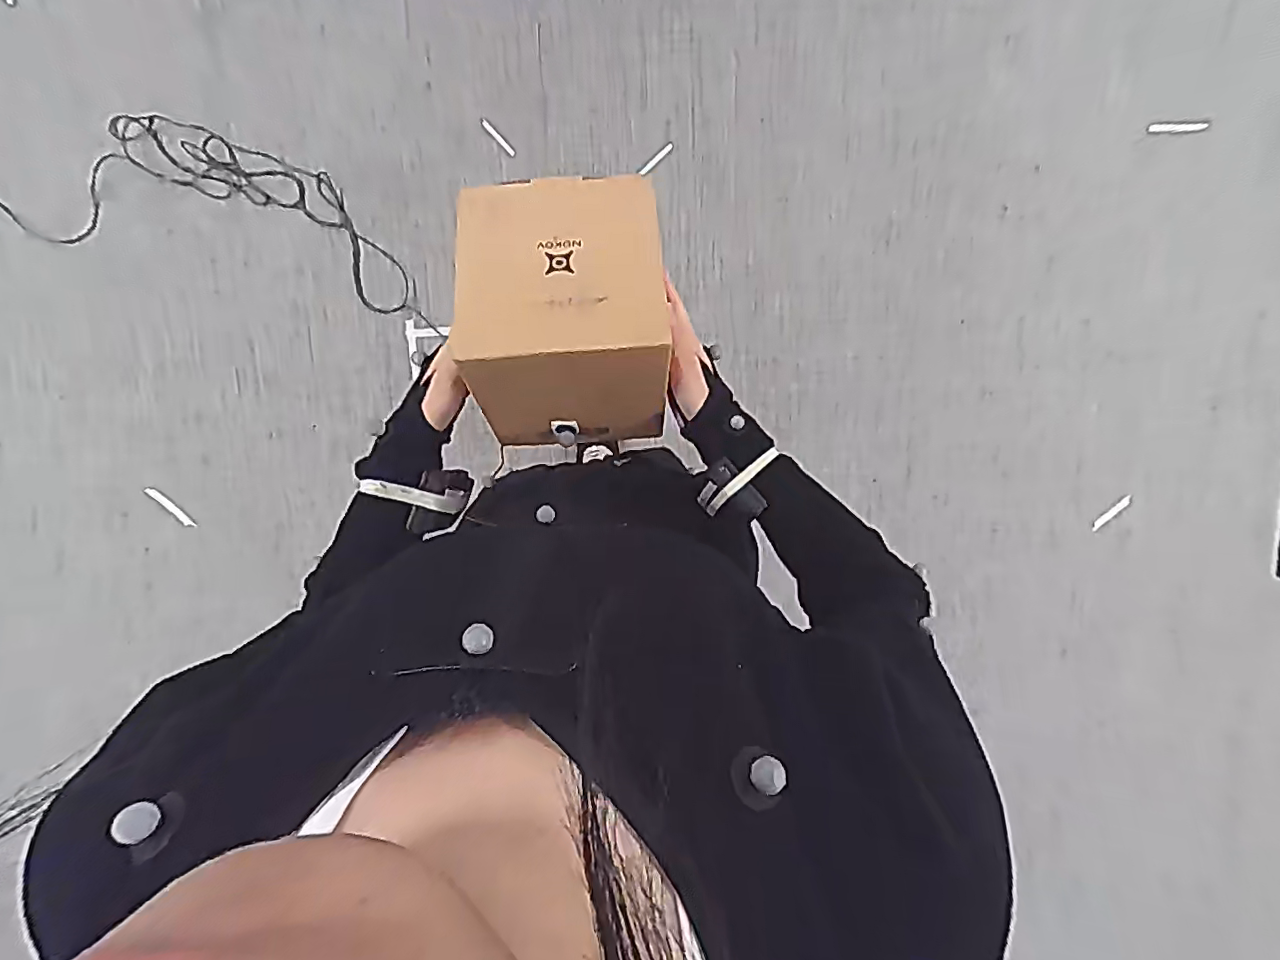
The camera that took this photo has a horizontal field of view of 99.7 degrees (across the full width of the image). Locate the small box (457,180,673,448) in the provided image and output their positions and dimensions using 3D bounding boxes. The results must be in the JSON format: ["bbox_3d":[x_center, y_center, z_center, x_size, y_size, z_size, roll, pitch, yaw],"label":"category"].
[{"bbox_3d":[-0.064,-0.146,0.510,0.168,0.176,0.179,-5,70,-2],"label":"small box"}]
